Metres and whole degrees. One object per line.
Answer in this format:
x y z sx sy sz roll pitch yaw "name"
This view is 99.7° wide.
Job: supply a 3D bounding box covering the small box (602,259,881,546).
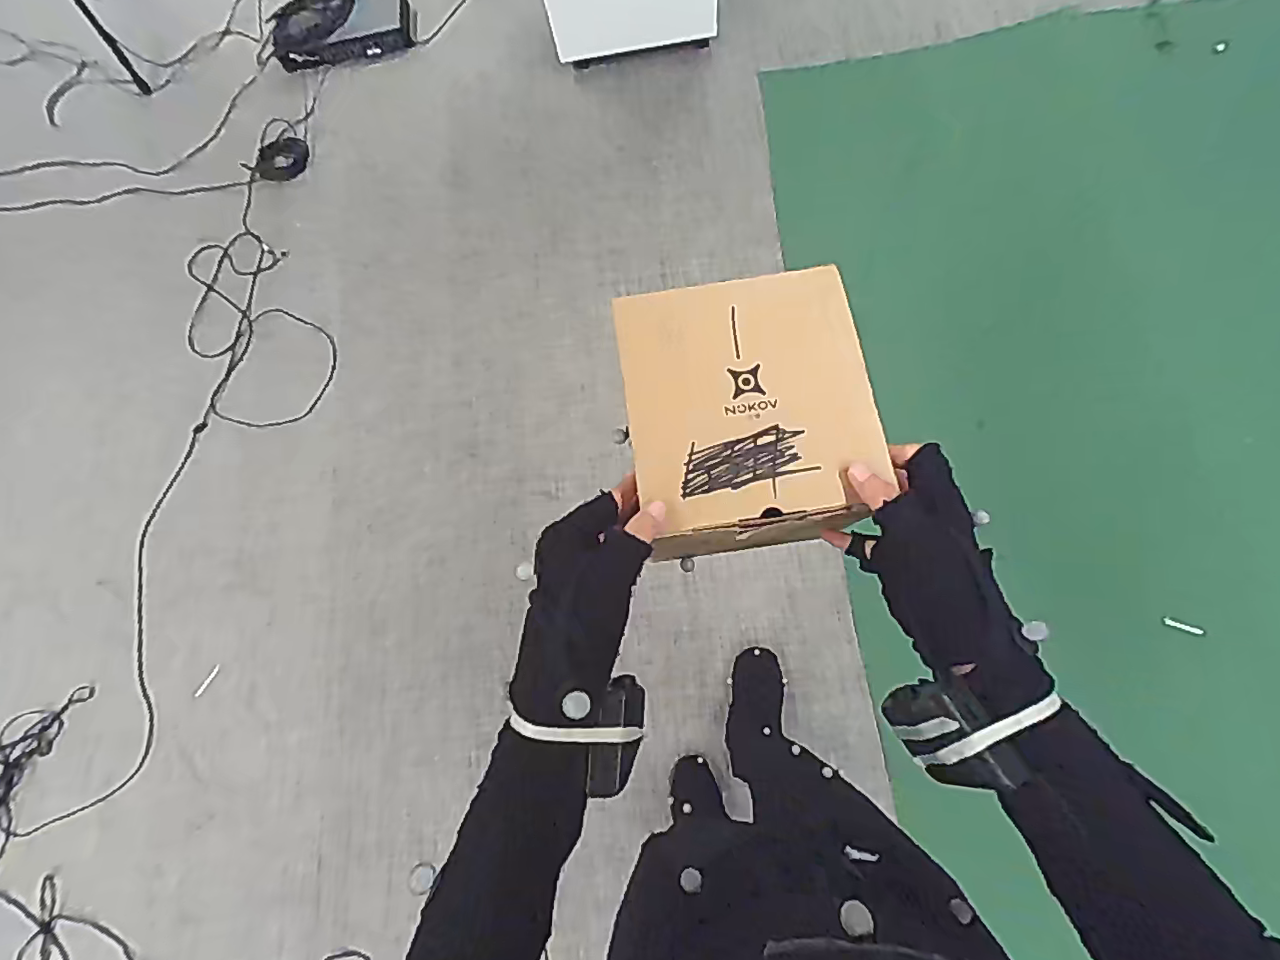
0.068 -0.044 0.442 0.168 0.176 0.179 -8 76 1 "small box"
